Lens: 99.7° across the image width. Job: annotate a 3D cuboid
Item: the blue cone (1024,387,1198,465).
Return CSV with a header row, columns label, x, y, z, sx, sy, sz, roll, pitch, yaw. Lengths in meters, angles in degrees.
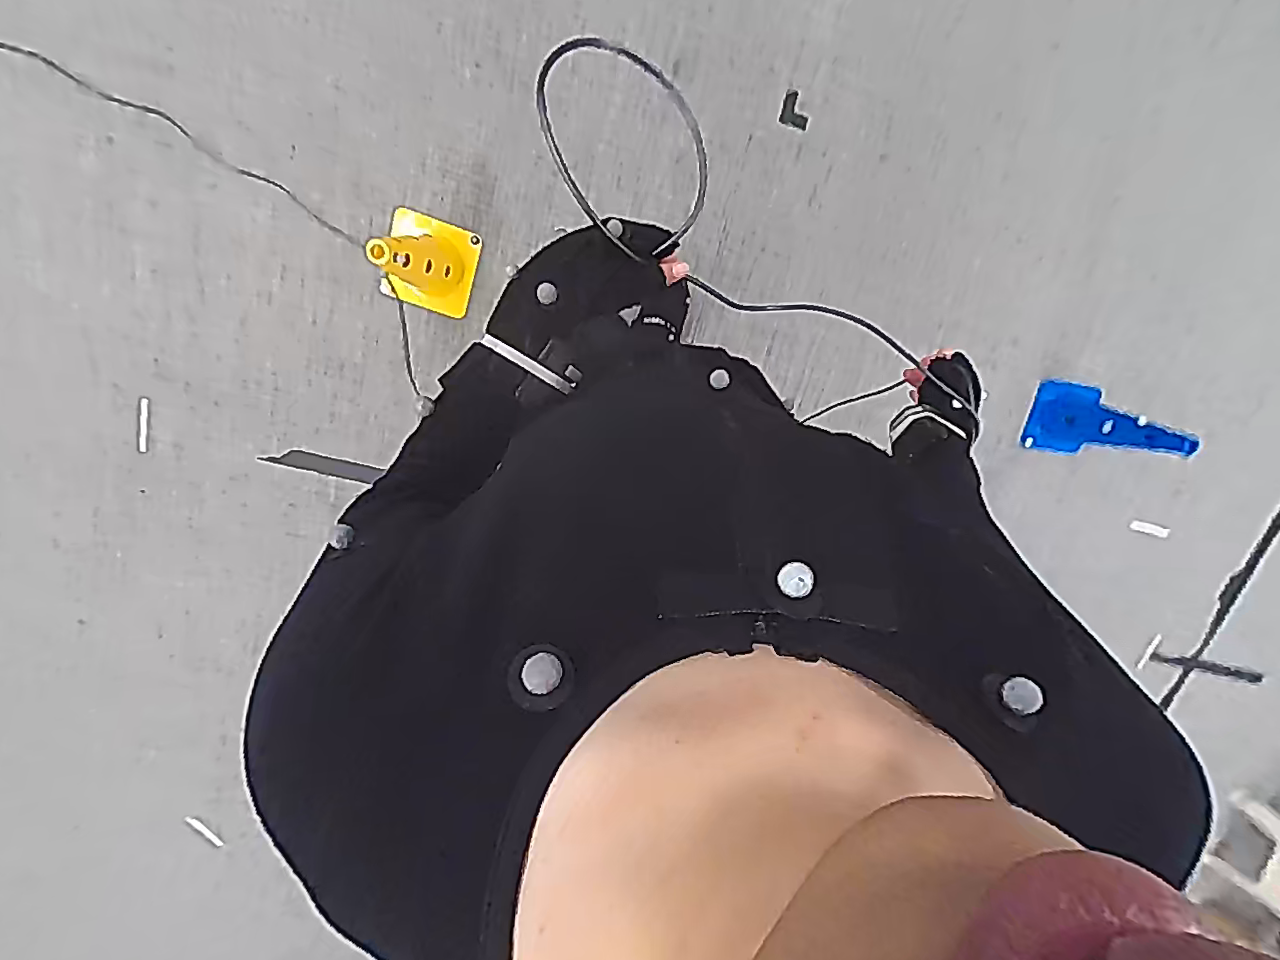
label,x,y,z,sx,sy,sz,roll,pitch,yaw
blue cone,1.228,-0.117,1.395,0.193,0.380,0.192,8,107,-9
